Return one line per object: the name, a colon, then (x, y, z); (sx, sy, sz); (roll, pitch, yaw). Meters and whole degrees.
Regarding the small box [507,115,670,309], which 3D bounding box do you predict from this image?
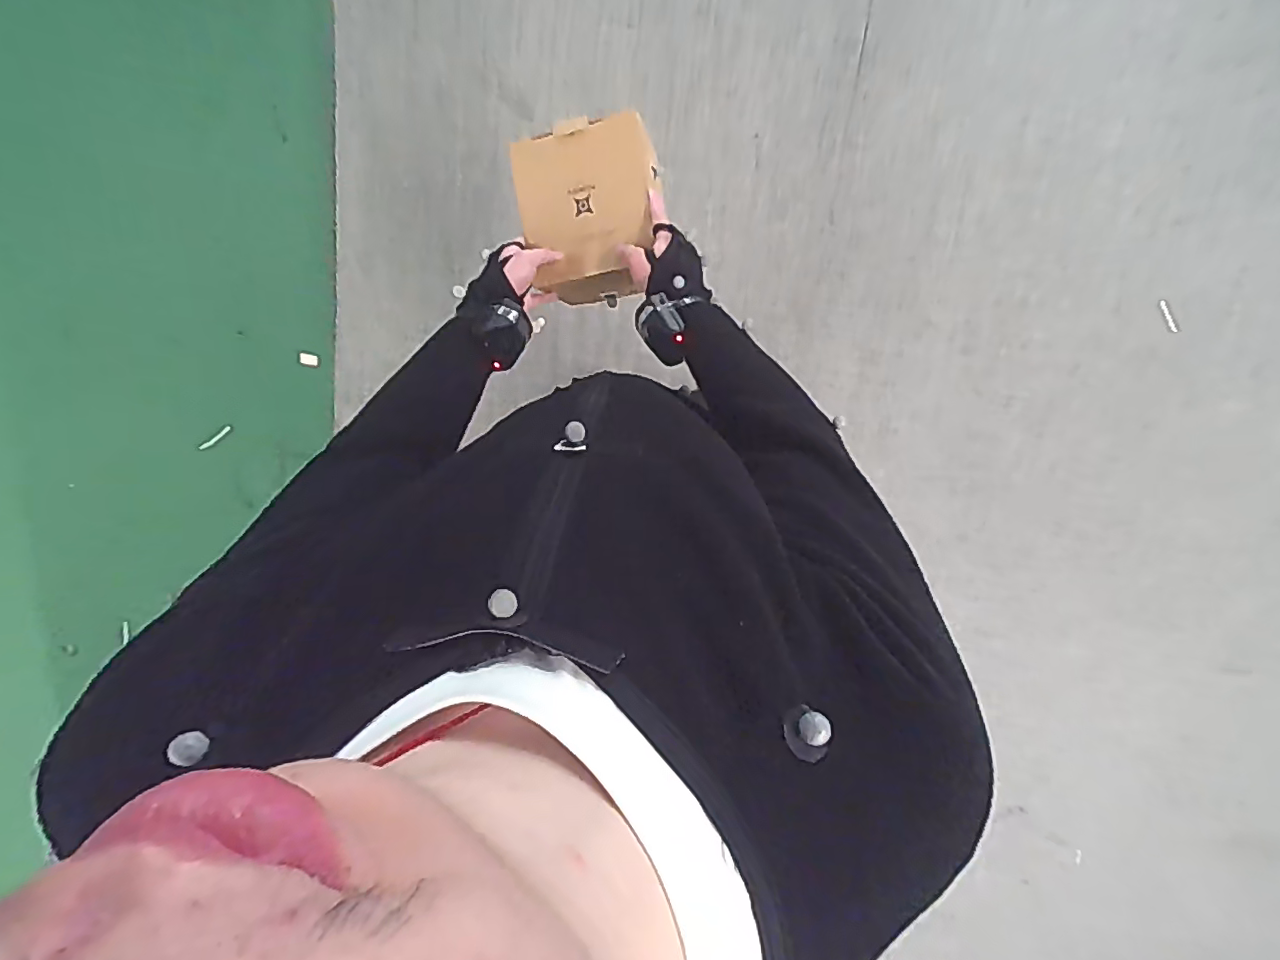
small box: (-0.058, -0.342, 0.727); (0.168, 0.176, 0.179); (-5, 98, 14)
